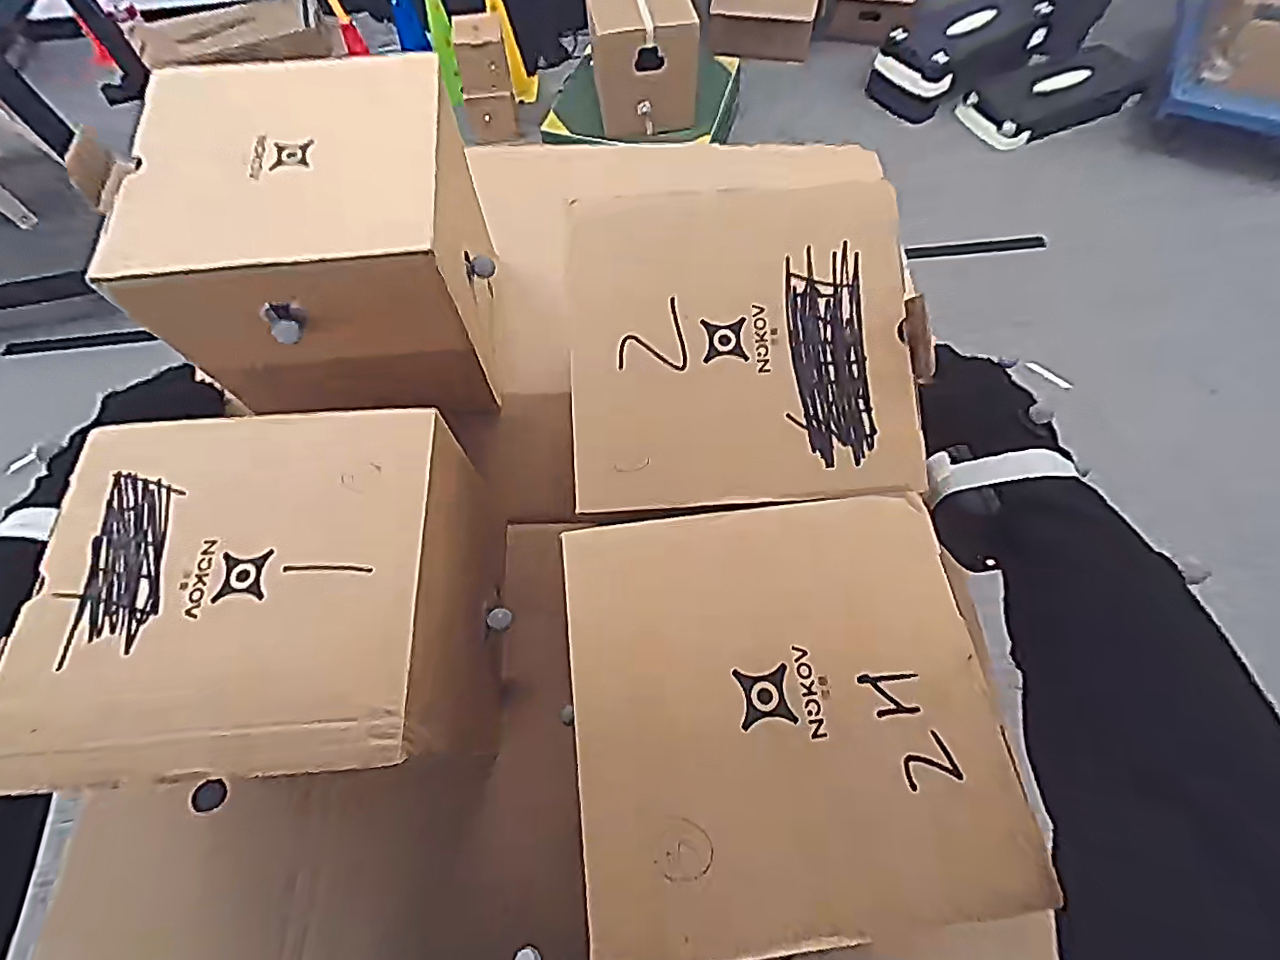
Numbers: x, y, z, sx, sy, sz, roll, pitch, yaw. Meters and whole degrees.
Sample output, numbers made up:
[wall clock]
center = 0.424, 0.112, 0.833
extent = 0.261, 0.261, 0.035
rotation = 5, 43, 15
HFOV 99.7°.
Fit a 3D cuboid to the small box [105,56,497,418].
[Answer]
[small box]
center = -0.205, -0.160, 0.391
extent = 0.179, 0.176, 0.168
rotation = -6, 68, -2
